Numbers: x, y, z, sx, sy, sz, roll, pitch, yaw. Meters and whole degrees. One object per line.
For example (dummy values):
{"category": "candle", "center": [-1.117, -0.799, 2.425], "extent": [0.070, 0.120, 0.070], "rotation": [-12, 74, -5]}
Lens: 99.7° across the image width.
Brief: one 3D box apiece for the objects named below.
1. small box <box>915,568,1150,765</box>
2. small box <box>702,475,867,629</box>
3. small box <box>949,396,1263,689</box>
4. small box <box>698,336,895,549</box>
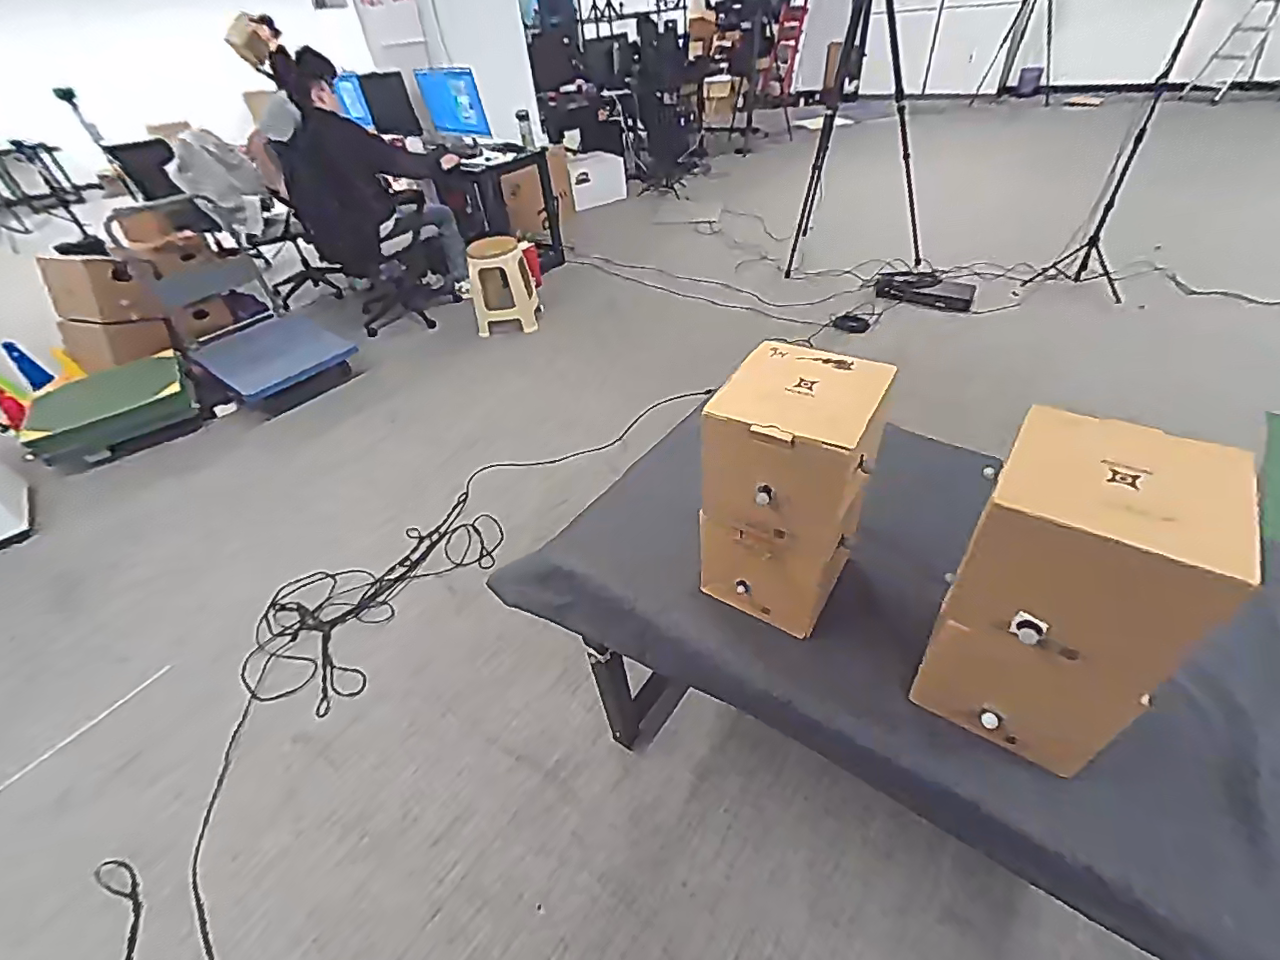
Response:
{"category": "small box", "center": [0.433, 0.174, 0.610], "extent": [0.168, 0.176, 0.179], "rotation": [22, 49, 29]}
{"category": "small box", "center": [0.197, 0.072, 0.763], "extent": [0.168, 0.176, 0.179], "rotation": [21, 49, 28]}
{"category": "small box", "center": [0.414, 0.052, 0.505], "extent": [0.168, 0.176, 0.179], "rotation": [22, 49, 31]}
{"category": "small box", "center": [0.184, -0.046, 0.651], "extent": [0.168, 0.176, 0.179], "rotation": [20, 49, 27]}
